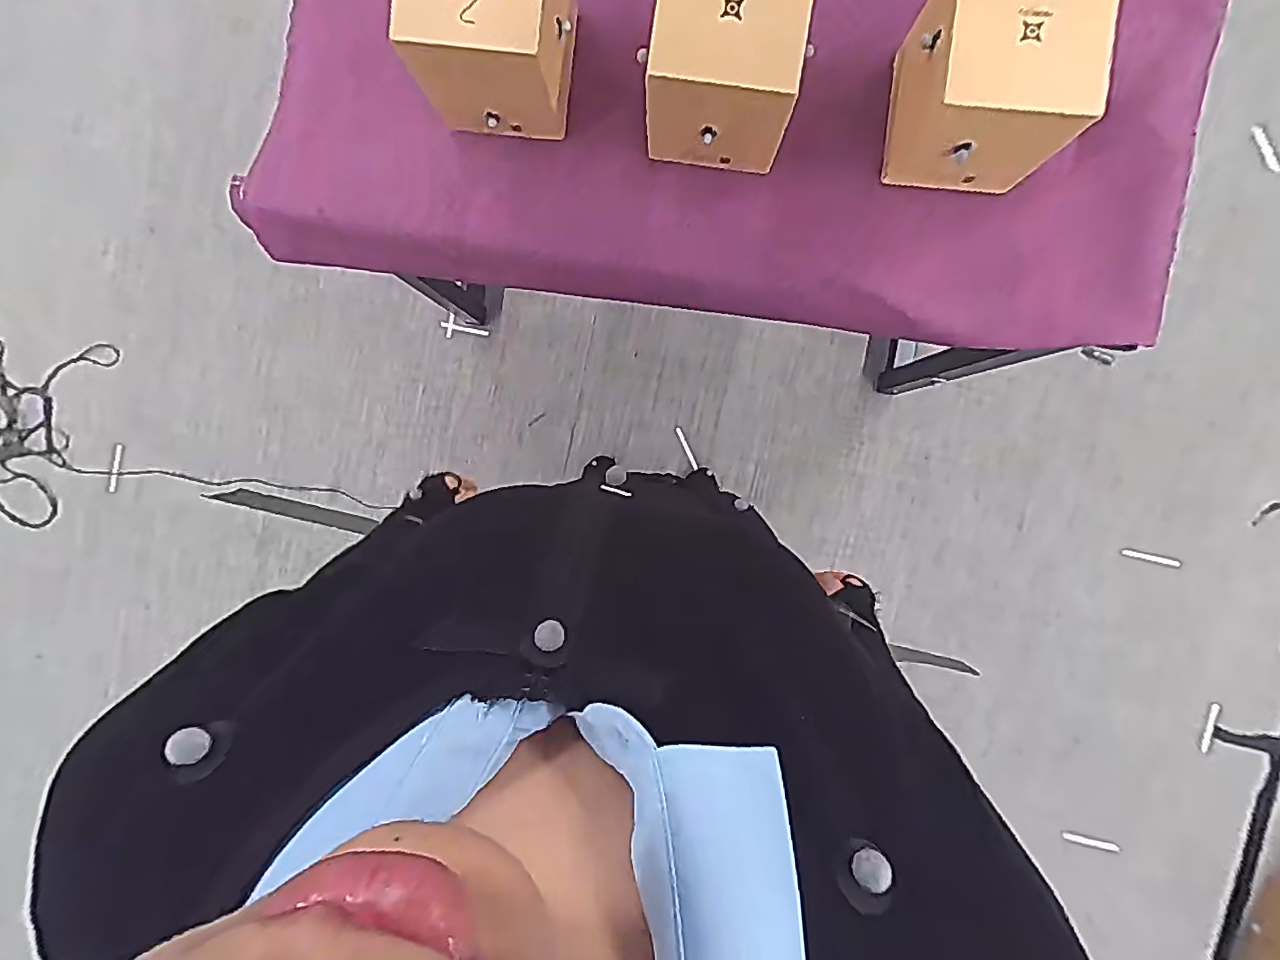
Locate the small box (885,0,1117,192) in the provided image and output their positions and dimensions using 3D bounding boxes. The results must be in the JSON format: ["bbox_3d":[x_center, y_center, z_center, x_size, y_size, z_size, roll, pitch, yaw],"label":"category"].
[{"bbox_3d":[0.413,-0.474,0.646,0.168,0.176,0.179,6,91,2],"label":"small box"}]

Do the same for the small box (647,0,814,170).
[{"bbox_3d":[0.105,-0.511,0.655,0.168,0.176,0.179,9,92,1],"label":"small box"}]
